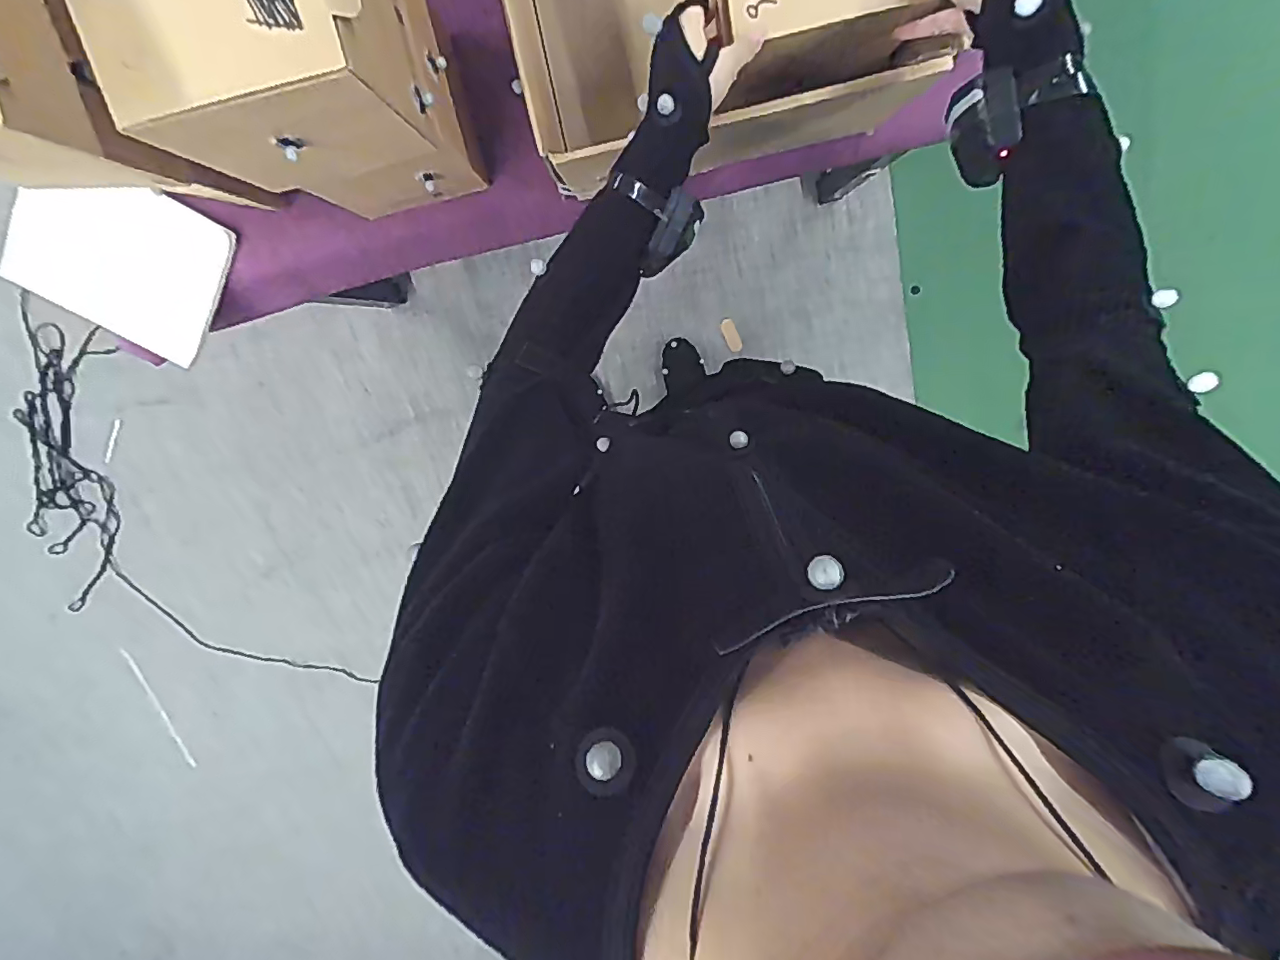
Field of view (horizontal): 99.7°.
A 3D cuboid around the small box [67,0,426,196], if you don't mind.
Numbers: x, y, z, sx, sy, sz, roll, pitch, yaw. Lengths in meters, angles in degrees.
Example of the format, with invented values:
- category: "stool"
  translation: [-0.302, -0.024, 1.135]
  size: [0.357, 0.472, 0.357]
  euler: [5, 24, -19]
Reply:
- category: "small box"
  translation: [-0.294, -0.352, 0.432]
  size: [0.179, 0.176, 0.168]
  euler: [-12, 103, 4]
